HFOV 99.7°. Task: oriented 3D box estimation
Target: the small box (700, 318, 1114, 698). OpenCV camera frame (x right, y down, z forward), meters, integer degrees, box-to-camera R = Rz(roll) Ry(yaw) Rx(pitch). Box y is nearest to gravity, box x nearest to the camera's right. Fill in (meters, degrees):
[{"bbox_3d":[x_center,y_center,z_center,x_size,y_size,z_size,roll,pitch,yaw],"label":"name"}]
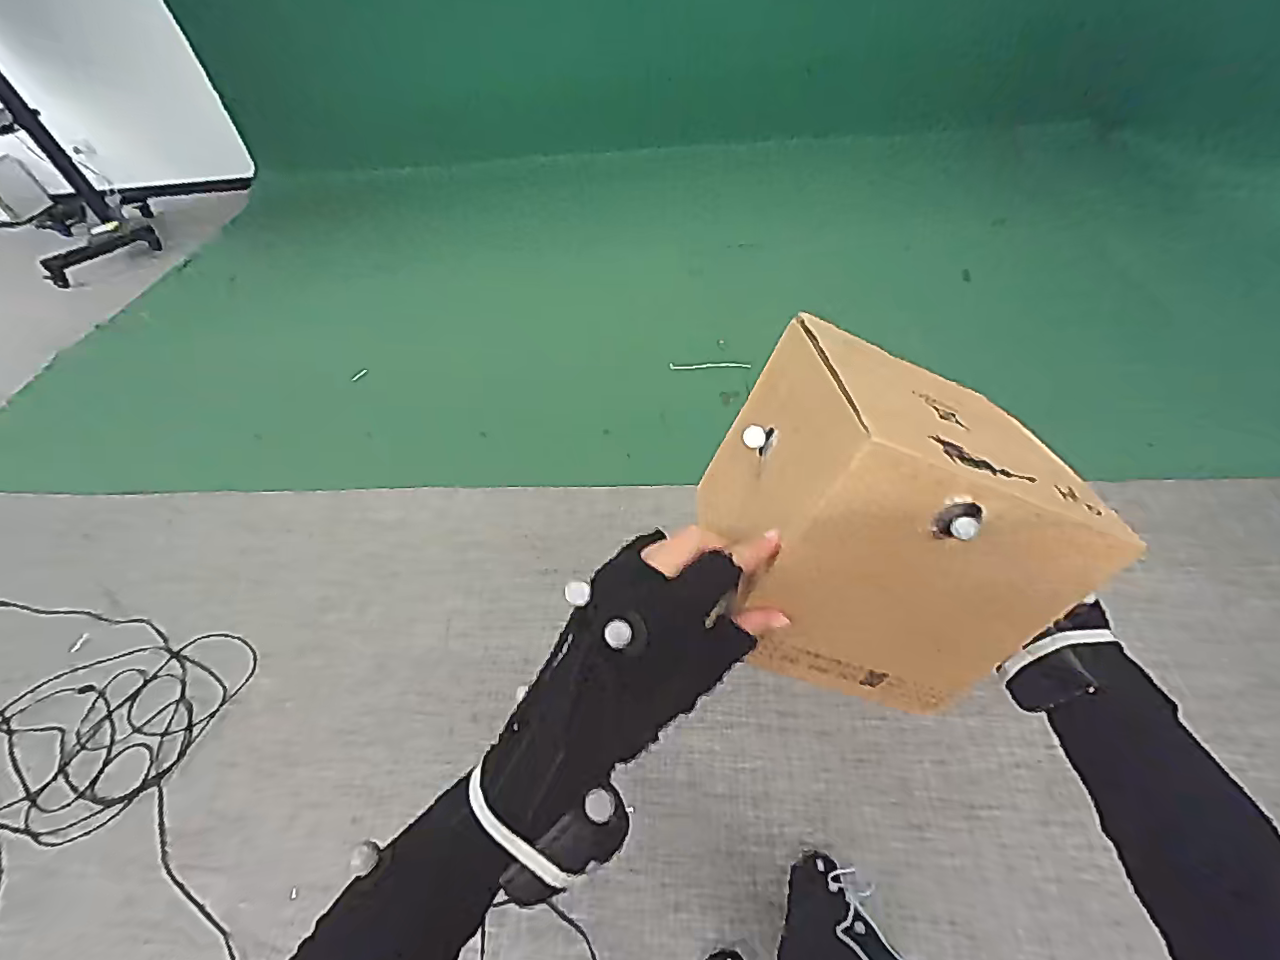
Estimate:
[{"bbox_3d":[0.150,0.017,0.383,0.168,0.176,0.179,19,33,-9],"label":"small box"}]
